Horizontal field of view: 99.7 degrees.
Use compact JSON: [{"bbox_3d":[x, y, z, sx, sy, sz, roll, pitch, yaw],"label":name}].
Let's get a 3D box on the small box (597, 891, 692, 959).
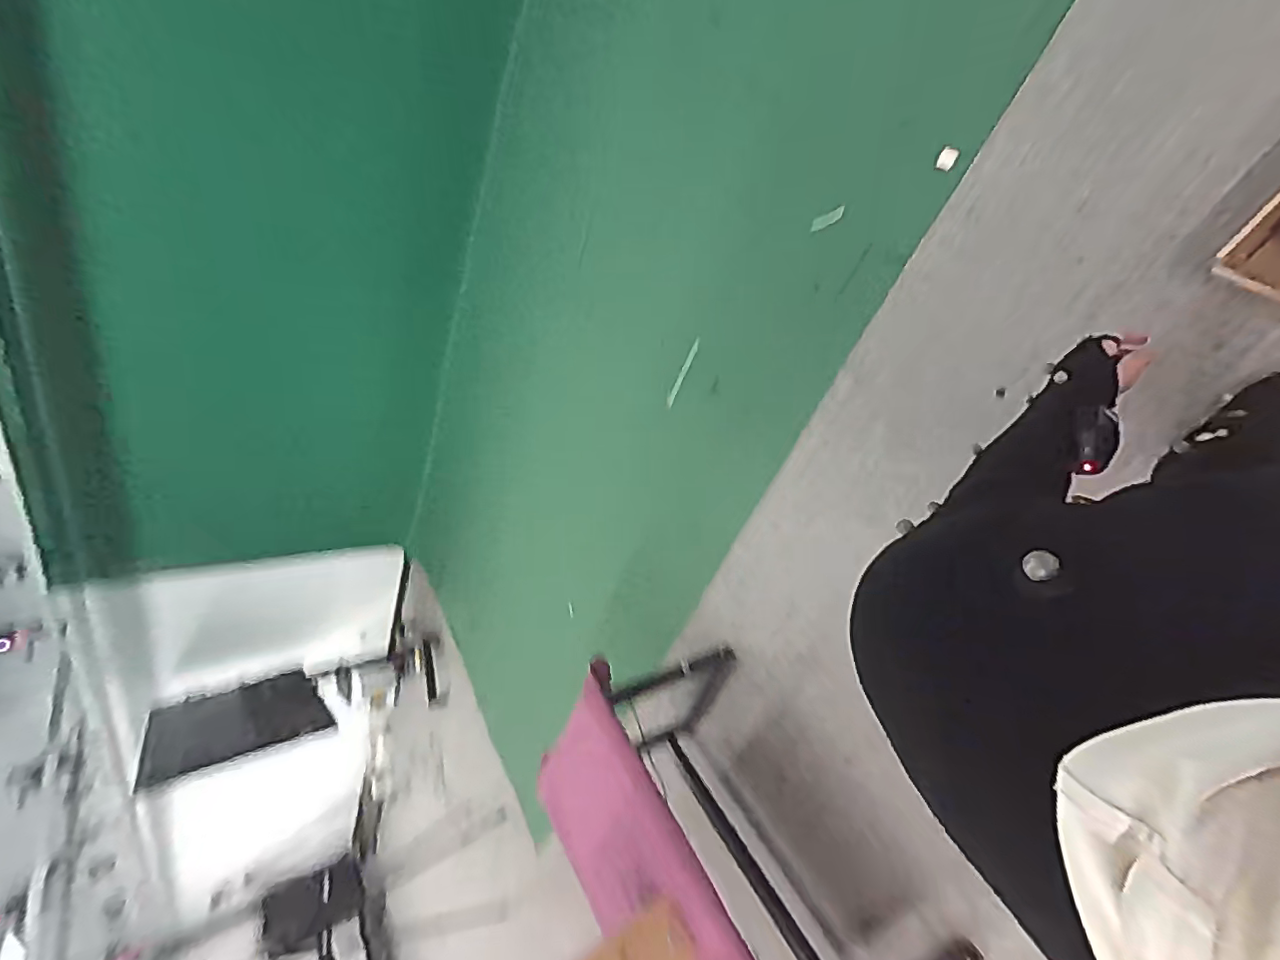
[{"bbox_3d":[0.013,1.268,1.459,0.168,0.176,0.179,48,127,37],"label":"small box"}]
